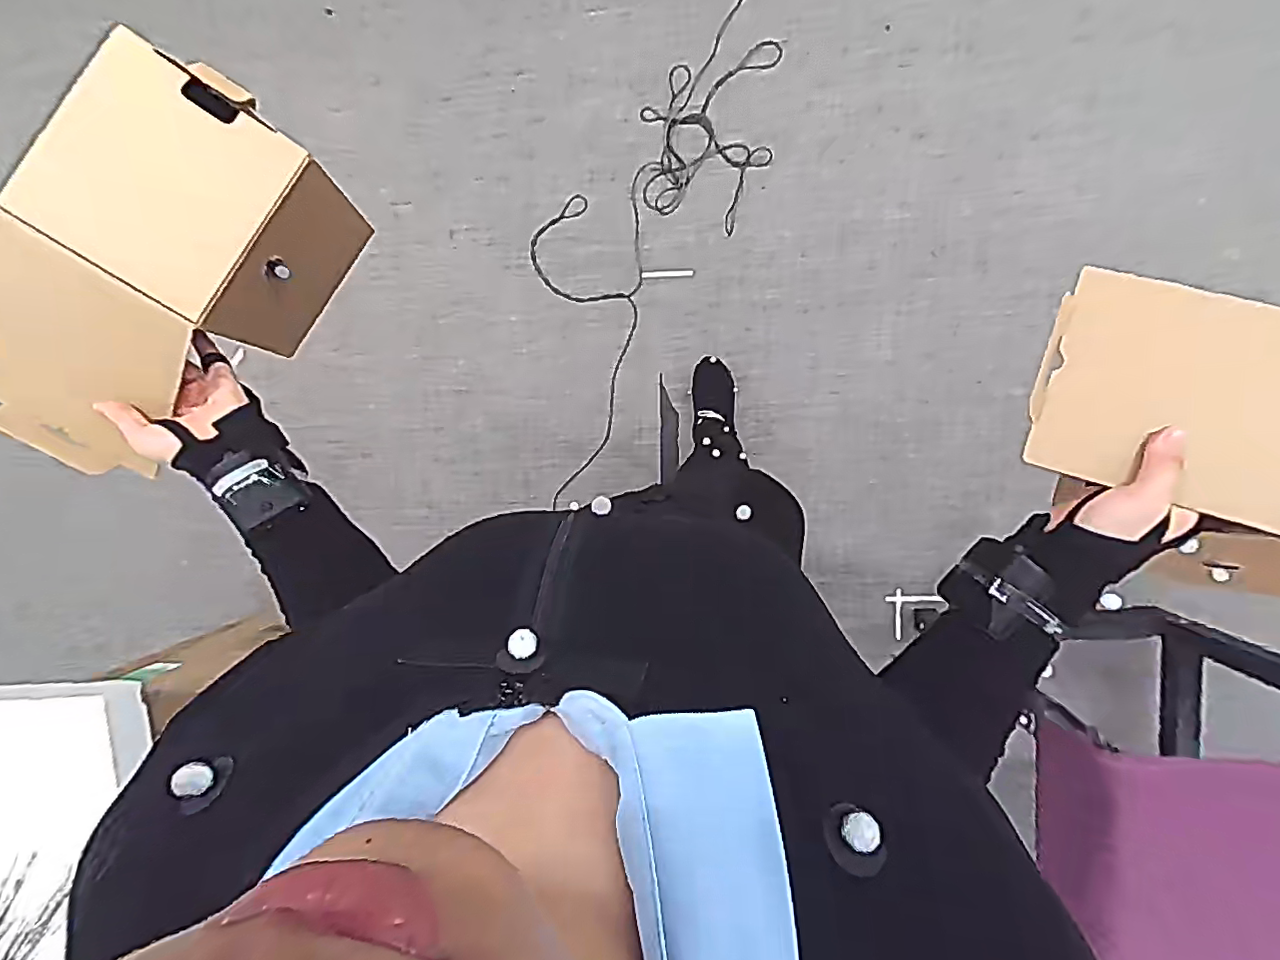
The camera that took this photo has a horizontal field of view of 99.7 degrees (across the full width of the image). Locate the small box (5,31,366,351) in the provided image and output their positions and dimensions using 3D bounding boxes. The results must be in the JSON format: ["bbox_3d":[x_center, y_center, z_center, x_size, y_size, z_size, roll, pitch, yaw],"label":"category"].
[{"bbox_3d":[-0.399,-0.249,0.519,0.168,0.176,0.179,33,86,-9],"label":"small box"}]
